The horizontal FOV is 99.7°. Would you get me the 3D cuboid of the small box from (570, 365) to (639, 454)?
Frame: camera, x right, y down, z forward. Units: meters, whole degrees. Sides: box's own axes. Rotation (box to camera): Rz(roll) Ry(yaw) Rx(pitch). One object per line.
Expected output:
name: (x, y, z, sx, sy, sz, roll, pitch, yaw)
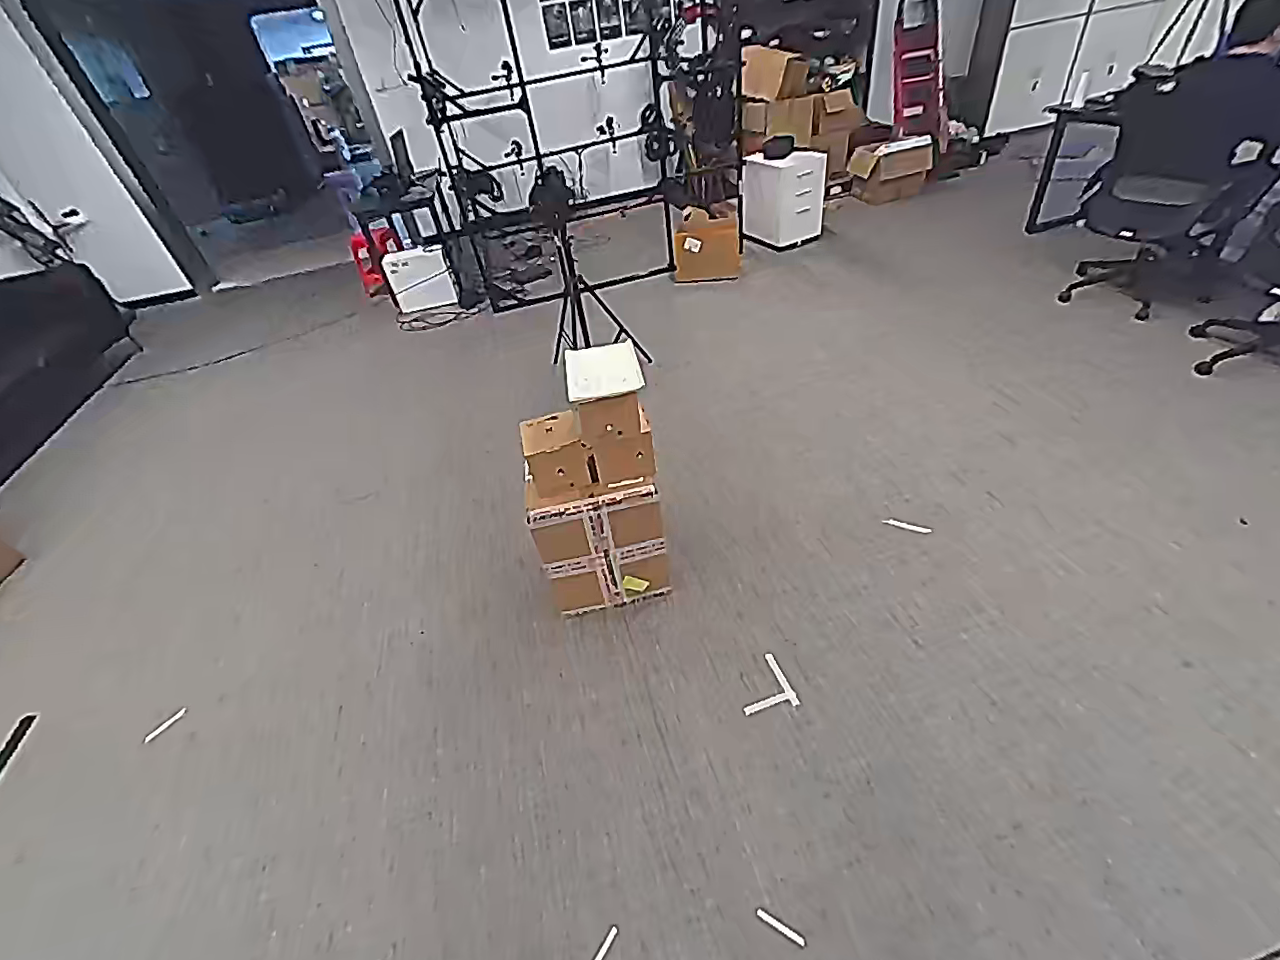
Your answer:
small box: (-0.098, -0.197, 1.507, 0.168, 0.176, 0.179, -10, 42, -3)
